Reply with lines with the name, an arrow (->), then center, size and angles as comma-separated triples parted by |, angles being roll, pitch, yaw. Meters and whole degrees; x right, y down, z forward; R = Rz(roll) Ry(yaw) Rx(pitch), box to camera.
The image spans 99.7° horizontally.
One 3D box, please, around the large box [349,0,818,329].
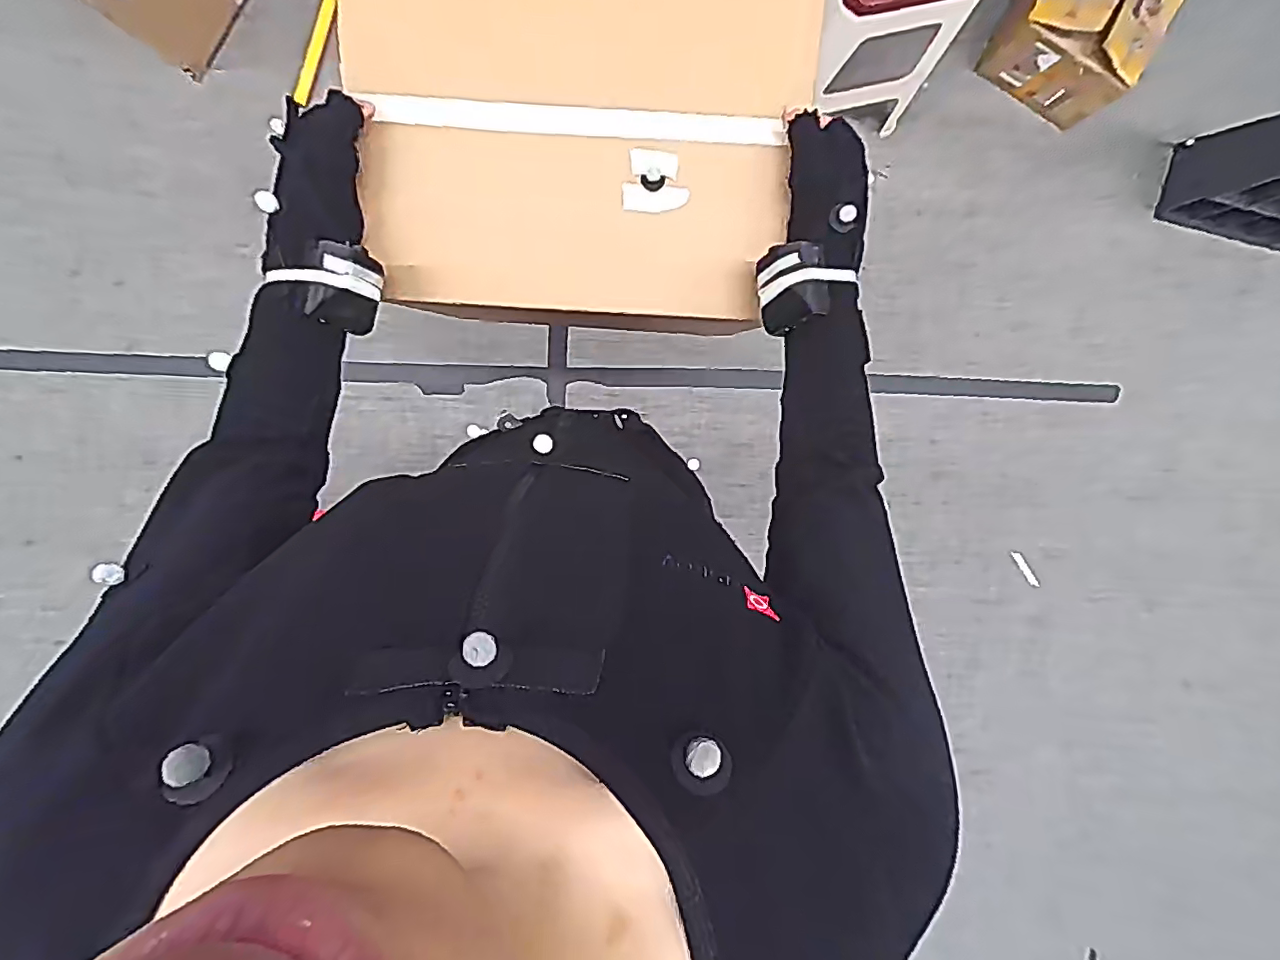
large box -> -0.055, -0.349, 0.622 | 0.408, 0.320, 0.320 | 3, 103, -2
